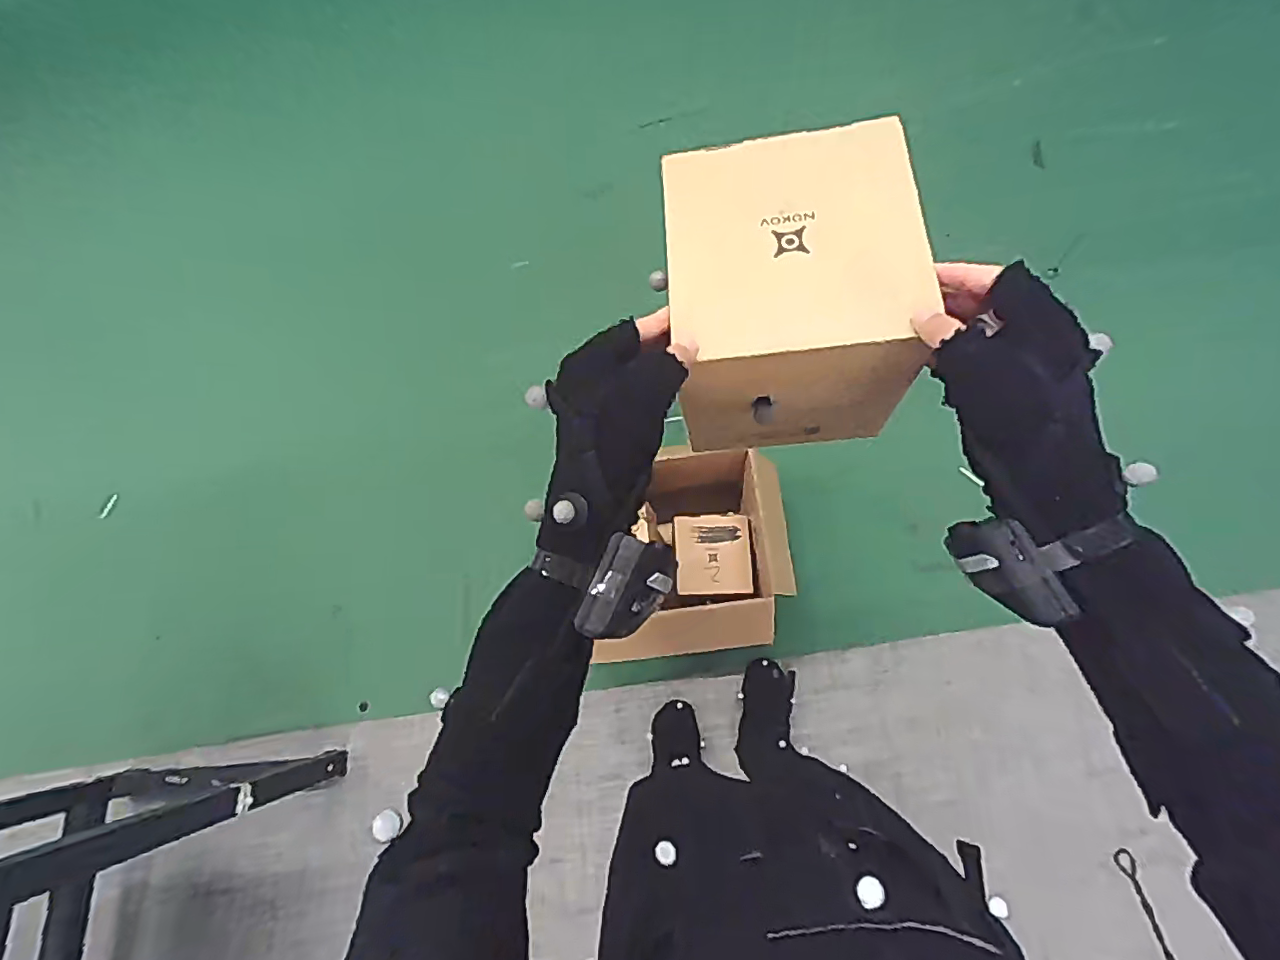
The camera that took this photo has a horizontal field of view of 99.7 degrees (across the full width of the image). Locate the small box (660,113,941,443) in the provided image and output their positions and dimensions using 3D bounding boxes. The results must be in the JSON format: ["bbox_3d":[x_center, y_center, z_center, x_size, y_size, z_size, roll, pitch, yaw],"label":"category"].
[{"bbox_3d":[0.111,-0.137,0.429,0.168,0.176,0.179,-5,71,9],"label":"small box"}]
